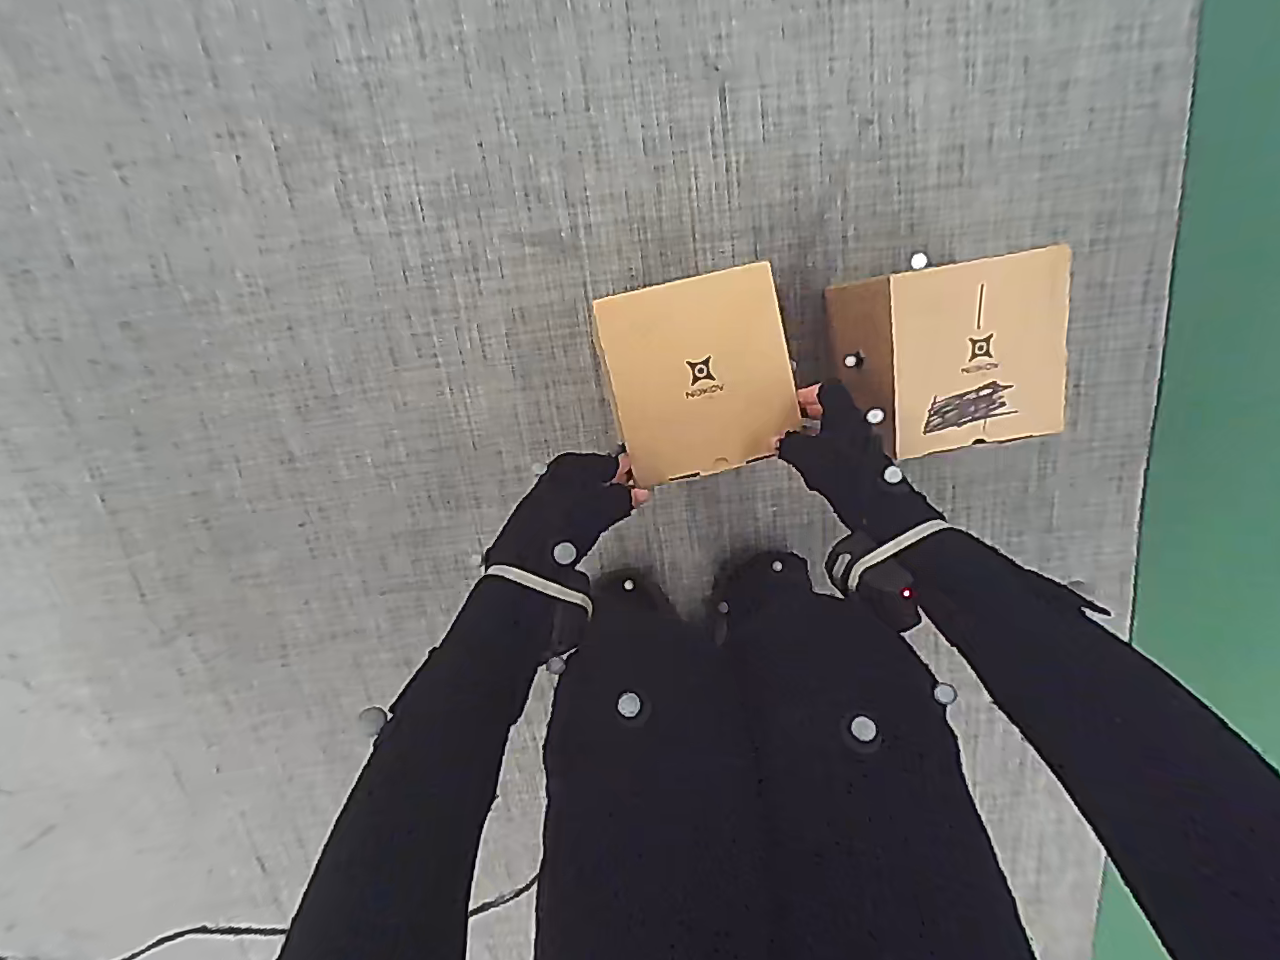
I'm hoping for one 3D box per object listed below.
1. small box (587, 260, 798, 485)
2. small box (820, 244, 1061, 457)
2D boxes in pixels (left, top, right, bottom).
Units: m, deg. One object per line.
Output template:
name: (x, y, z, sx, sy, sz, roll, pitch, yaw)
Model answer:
small box: (0.045, -0.103, 0.569, 0.168, 0.176, 0.179, -14, 96, -1)
small box: (0.305, -0.138, 0.582, 0.168, 0.176, 0.179, -10, 105, 1)
